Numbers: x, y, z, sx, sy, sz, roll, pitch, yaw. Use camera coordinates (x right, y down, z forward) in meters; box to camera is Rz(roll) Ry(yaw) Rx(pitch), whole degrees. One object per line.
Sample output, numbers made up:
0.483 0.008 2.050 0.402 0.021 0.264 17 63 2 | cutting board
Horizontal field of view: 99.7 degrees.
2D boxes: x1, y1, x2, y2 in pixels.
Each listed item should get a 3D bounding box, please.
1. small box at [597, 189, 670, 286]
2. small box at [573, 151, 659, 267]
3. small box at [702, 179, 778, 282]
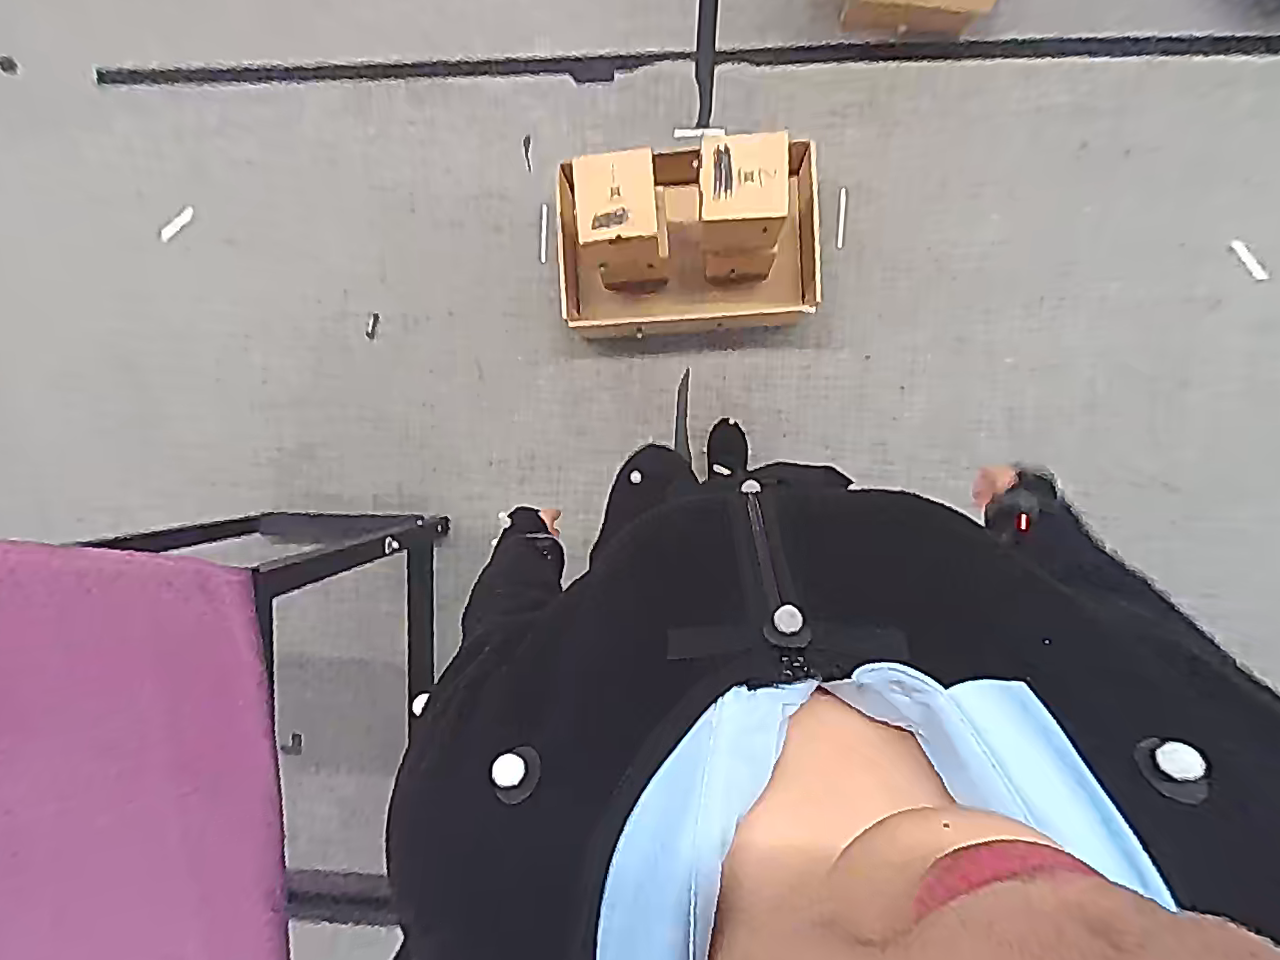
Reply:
-0.018 -0.594 1.344 0.179 0.176 0.168 -4 92 3 | small box
-0.046 -0.579 1.182 0.168 0.176 0.179 -5 91 3 | small box
0.240 -0.606 1.327 0.168 0.176 0.179 -2 93 6 | small box
